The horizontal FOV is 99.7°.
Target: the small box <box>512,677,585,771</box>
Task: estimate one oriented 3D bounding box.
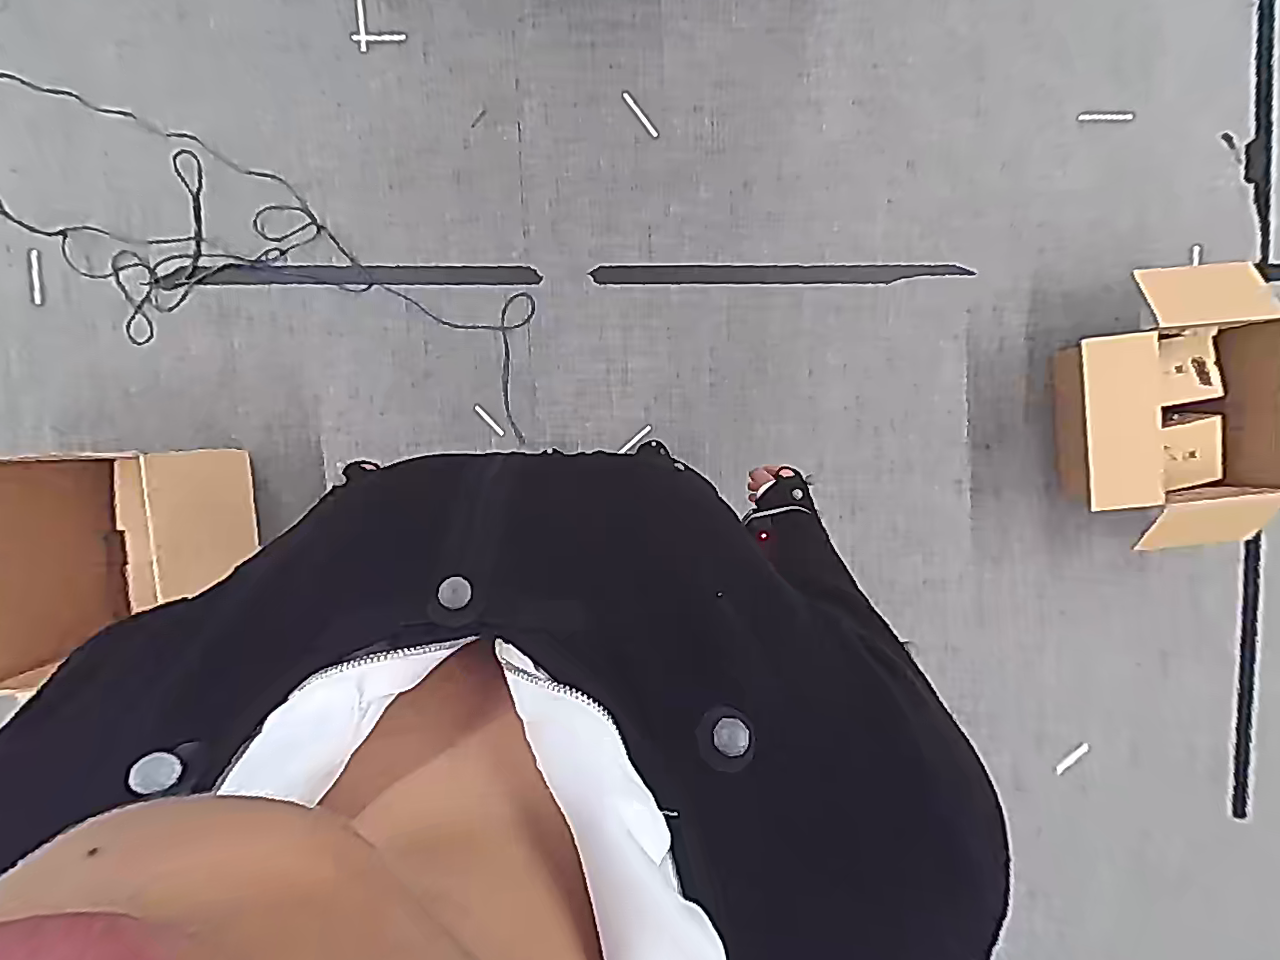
[{"bbox_3d":[-0.230,0.620,1.391,0.168,0.176,0.179,2,91,-3],"label":"small box"}]
